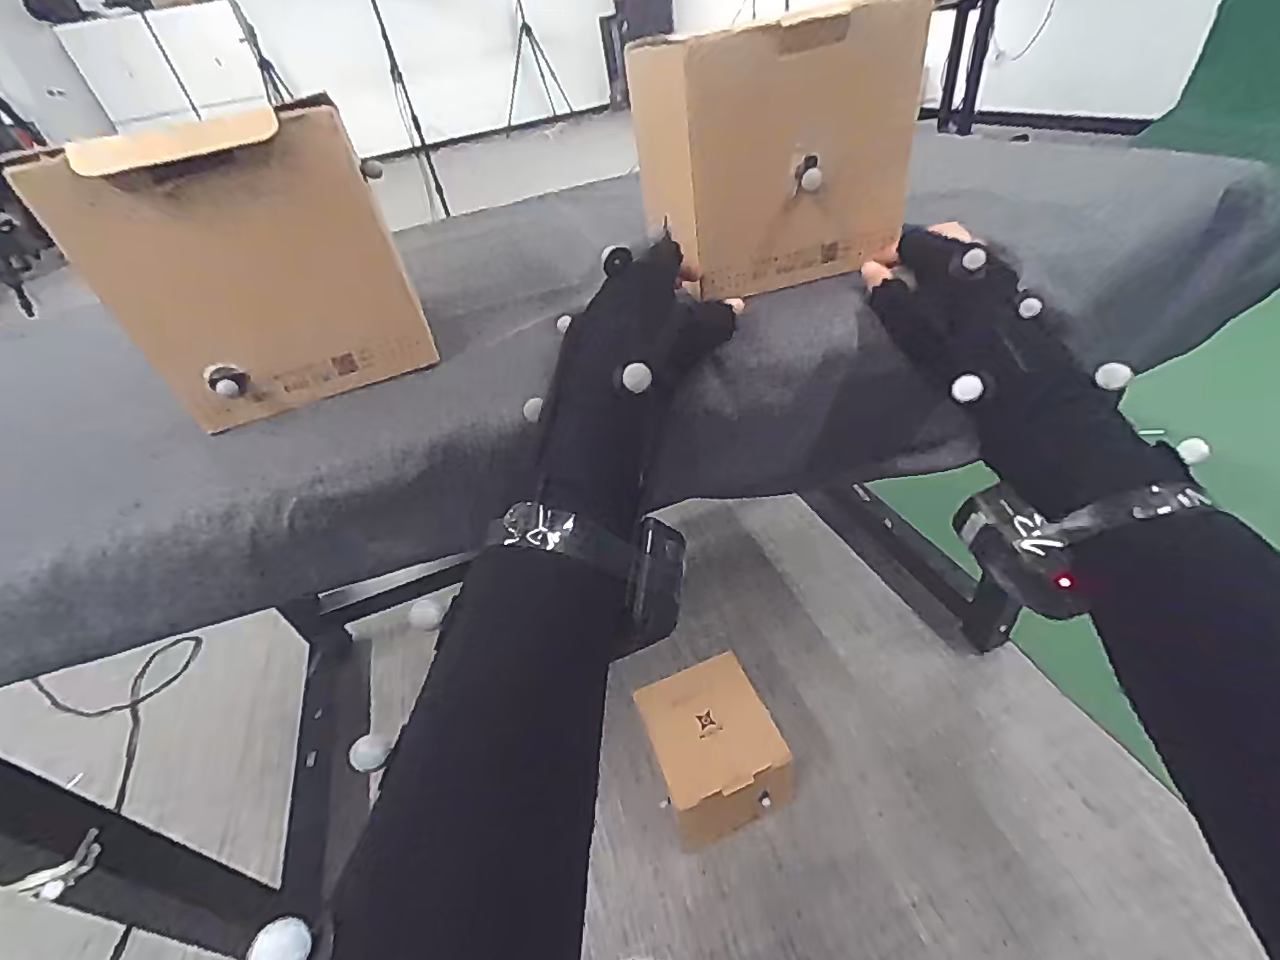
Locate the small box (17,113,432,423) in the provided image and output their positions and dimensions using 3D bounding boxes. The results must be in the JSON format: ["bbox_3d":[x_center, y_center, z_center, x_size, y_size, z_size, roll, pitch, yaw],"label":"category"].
[{"bbox_3d":[-0.274,-0.161,0.413,0.168,0.176,0.179,-22,38,-13],"label":"small box"}]

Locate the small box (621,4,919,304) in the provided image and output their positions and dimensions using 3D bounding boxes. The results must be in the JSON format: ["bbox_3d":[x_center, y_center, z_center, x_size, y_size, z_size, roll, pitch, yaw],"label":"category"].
[{"bbox_3d":[0.093,-0.260,0.445,0.168,0.176,0.179,-15,40,-4],"label":"small box"}]

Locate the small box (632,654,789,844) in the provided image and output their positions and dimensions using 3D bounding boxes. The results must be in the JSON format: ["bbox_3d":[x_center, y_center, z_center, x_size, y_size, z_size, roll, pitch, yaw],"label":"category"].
[{"bbox_3d":[0.104,0.401,0.800,0.168,0.176,0.179,-19,38,-11],"label":"small box"}]
